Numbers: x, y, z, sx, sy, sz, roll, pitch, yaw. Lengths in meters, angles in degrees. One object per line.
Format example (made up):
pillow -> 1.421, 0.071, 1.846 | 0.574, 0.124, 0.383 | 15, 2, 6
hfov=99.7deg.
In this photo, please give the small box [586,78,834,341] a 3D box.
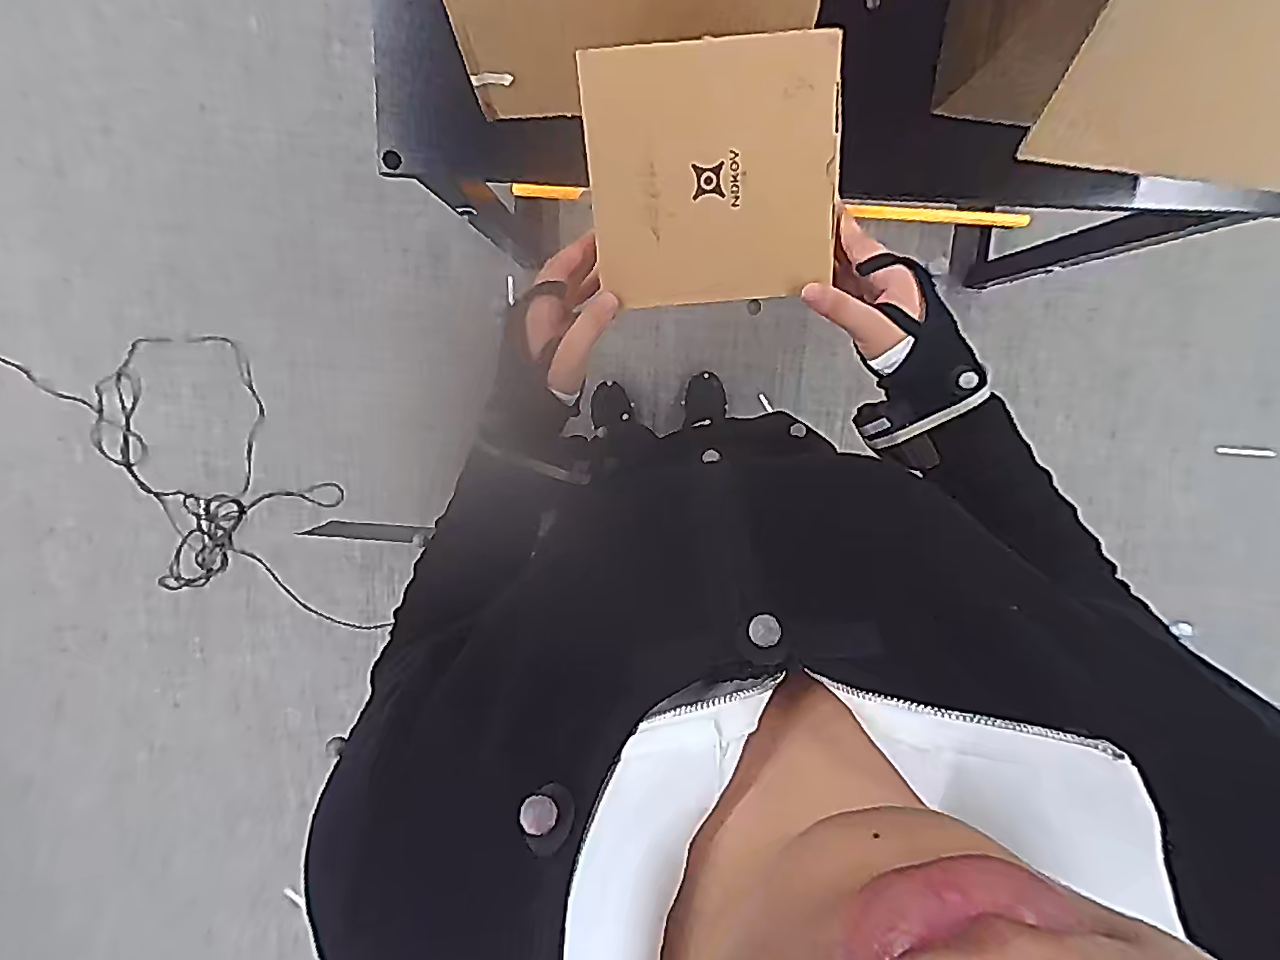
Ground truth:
small box -> 0.054, -0.220, 0.474 | 0.179, 0.176, 0.168 | -5, 109, 2
